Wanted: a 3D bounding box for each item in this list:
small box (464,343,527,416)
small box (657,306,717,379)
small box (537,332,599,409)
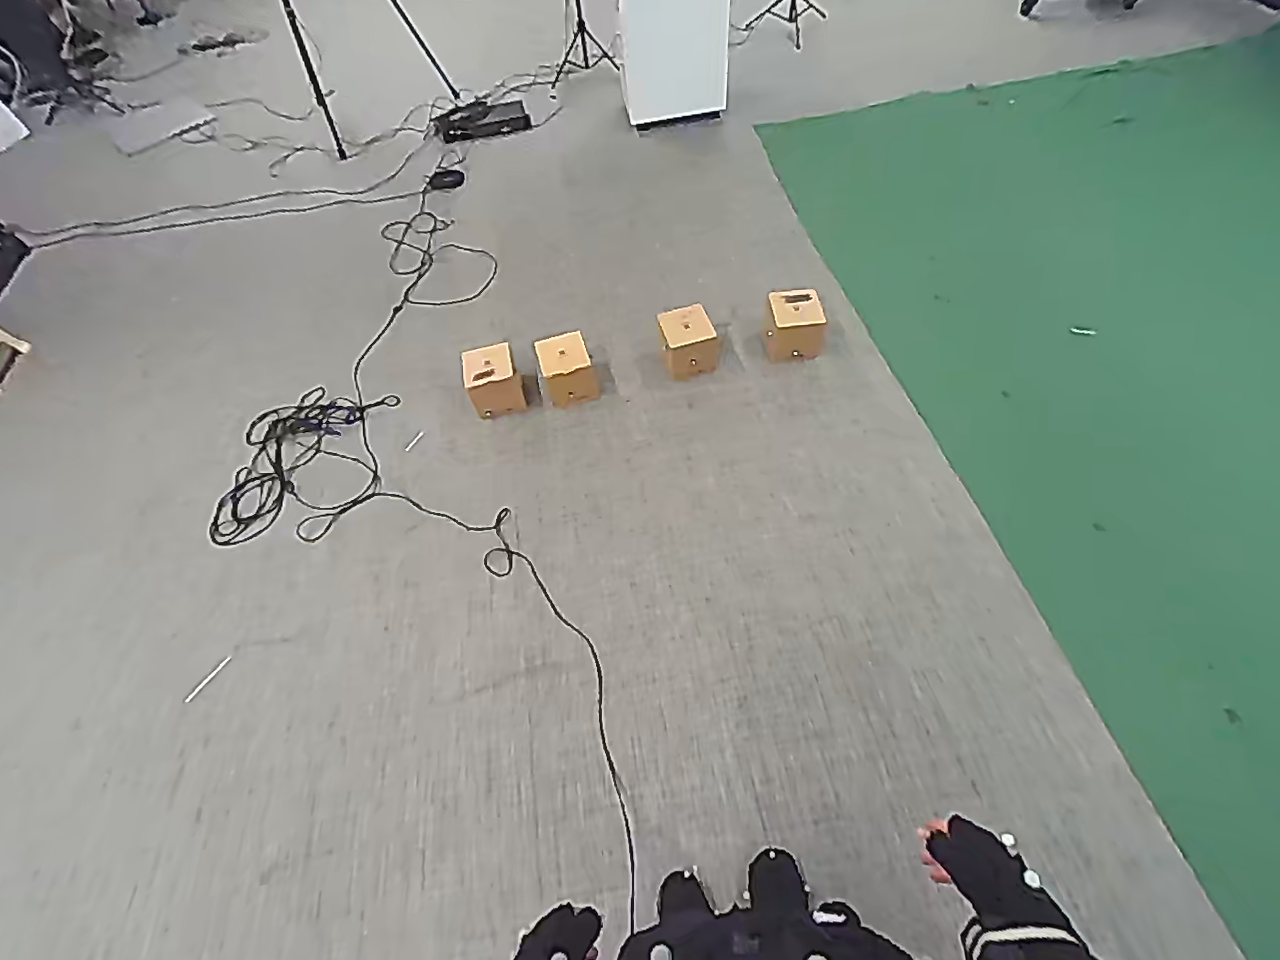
[{"bbox_3d":[-0.502,-0.341,1.882,0.168,0.176,0.179,-14,57,-3],"label":"small box"},{"bbox_3d":[0.166,-0.475,1.902,0.168,0.176,0.179,-15,58,-5],"label":"small box"},{"bbox_3d":[-0.249,-0.378,1.882,0.168,0.176,0.179,-17,59,-4],"label":"small box"}]
